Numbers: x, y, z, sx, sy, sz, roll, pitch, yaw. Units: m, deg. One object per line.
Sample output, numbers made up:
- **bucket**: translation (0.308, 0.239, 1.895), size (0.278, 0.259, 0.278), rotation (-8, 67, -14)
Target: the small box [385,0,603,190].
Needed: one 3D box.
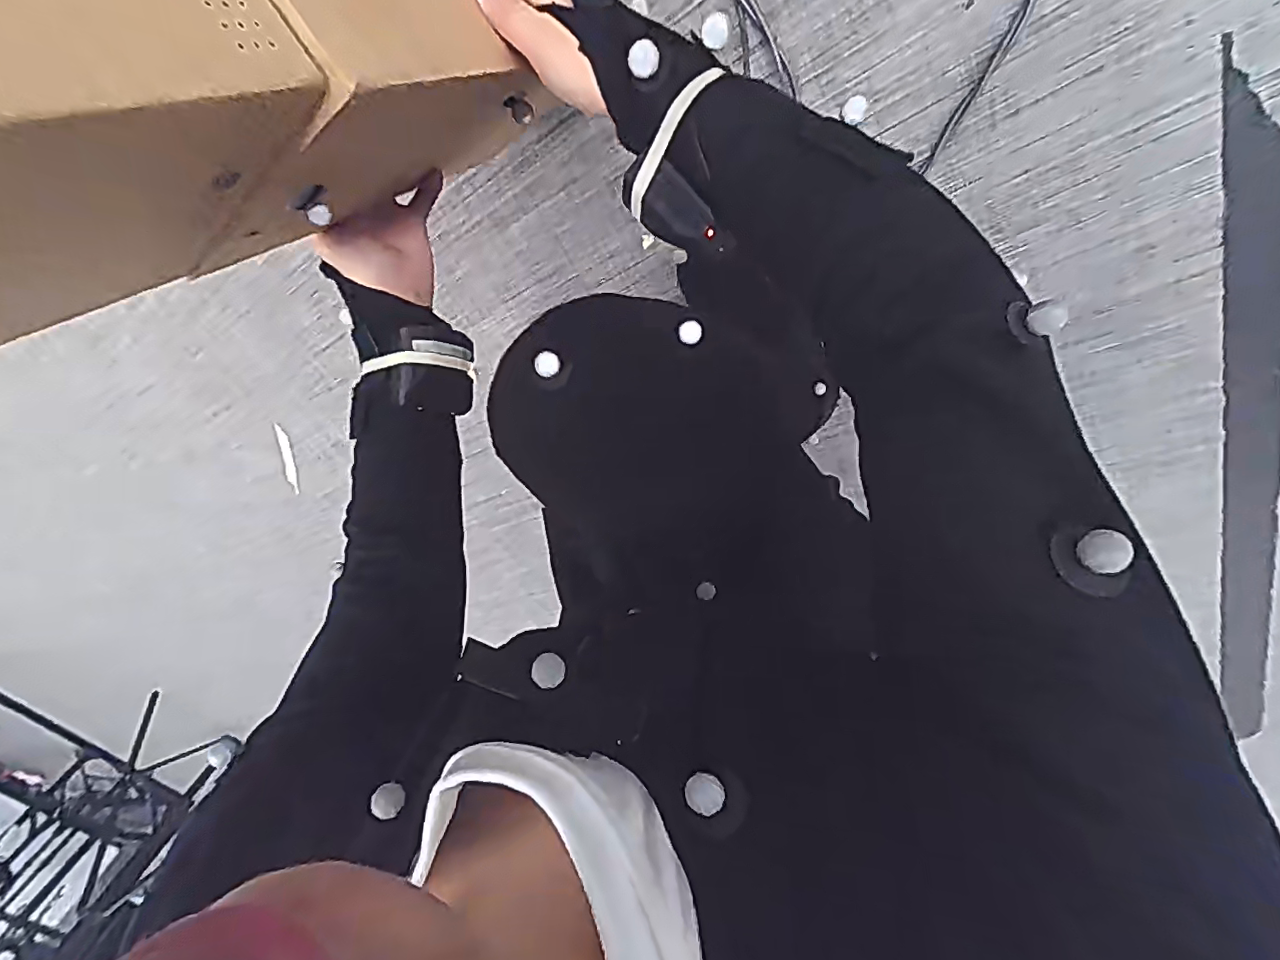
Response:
- **small box**: translation (-0.146, -0.346, 0.386), size (0.179, 0.176, 0.168), rotation (-16, 120, 33)

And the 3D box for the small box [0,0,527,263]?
- **small box**: translation (-0.190, -0.242, 0.268), size (0.179, 0.176, 0.168), rotation (-16, 121, 31)
